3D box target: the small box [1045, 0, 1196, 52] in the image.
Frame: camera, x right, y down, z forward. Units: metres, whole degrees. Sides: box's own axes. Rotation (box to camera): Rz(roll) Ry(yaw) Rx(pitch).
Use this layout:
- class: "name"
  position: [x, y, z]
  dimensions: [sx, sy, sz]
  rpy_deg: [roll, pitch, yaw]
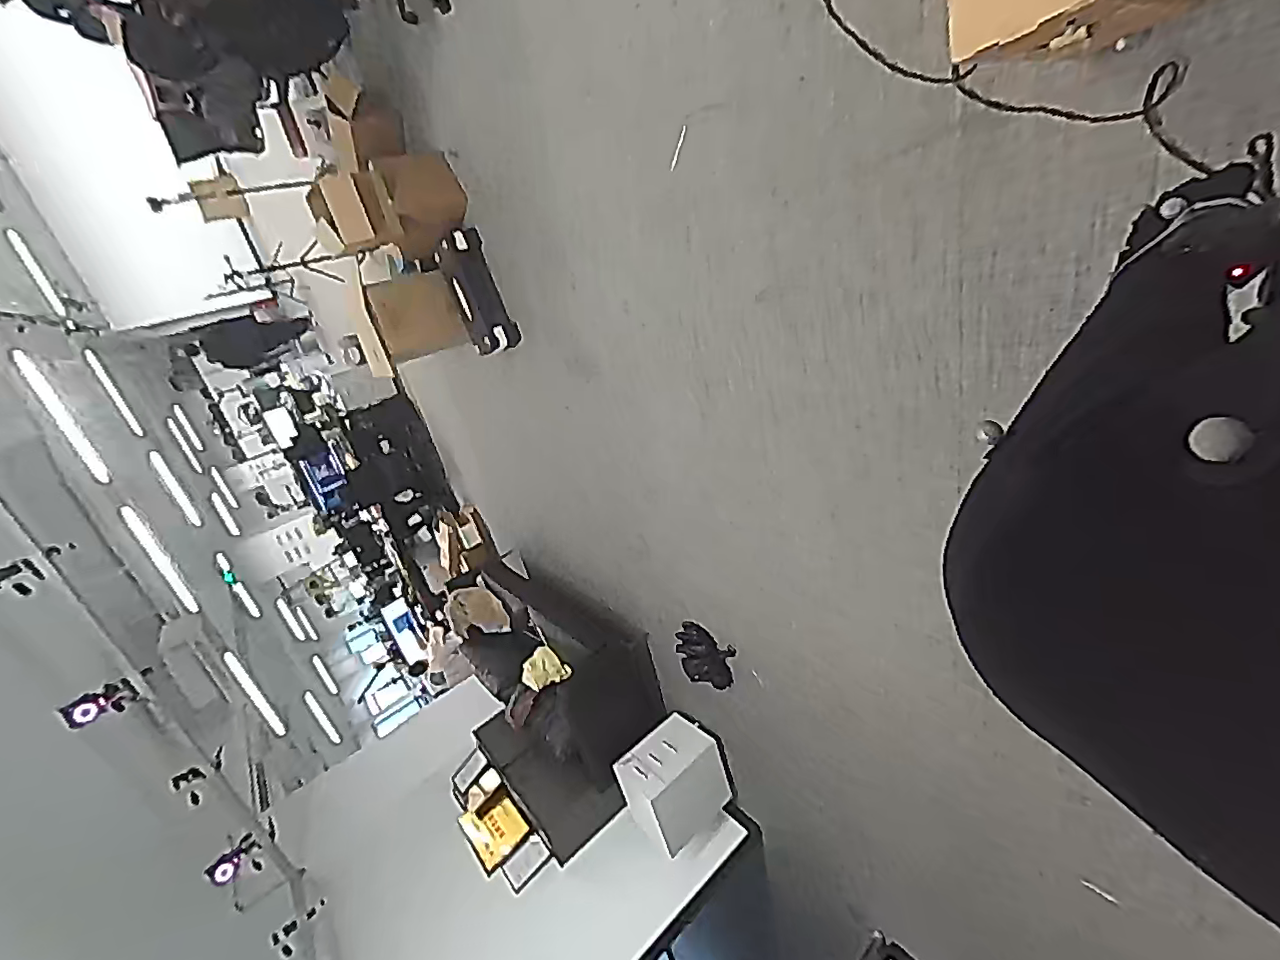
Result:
- class: "small box"
  position: [0.775, -0.826, 0.865]
  dimensions: [0.168, 0.176, 0.179]
  rpy_deg: [8, 122, 55]
